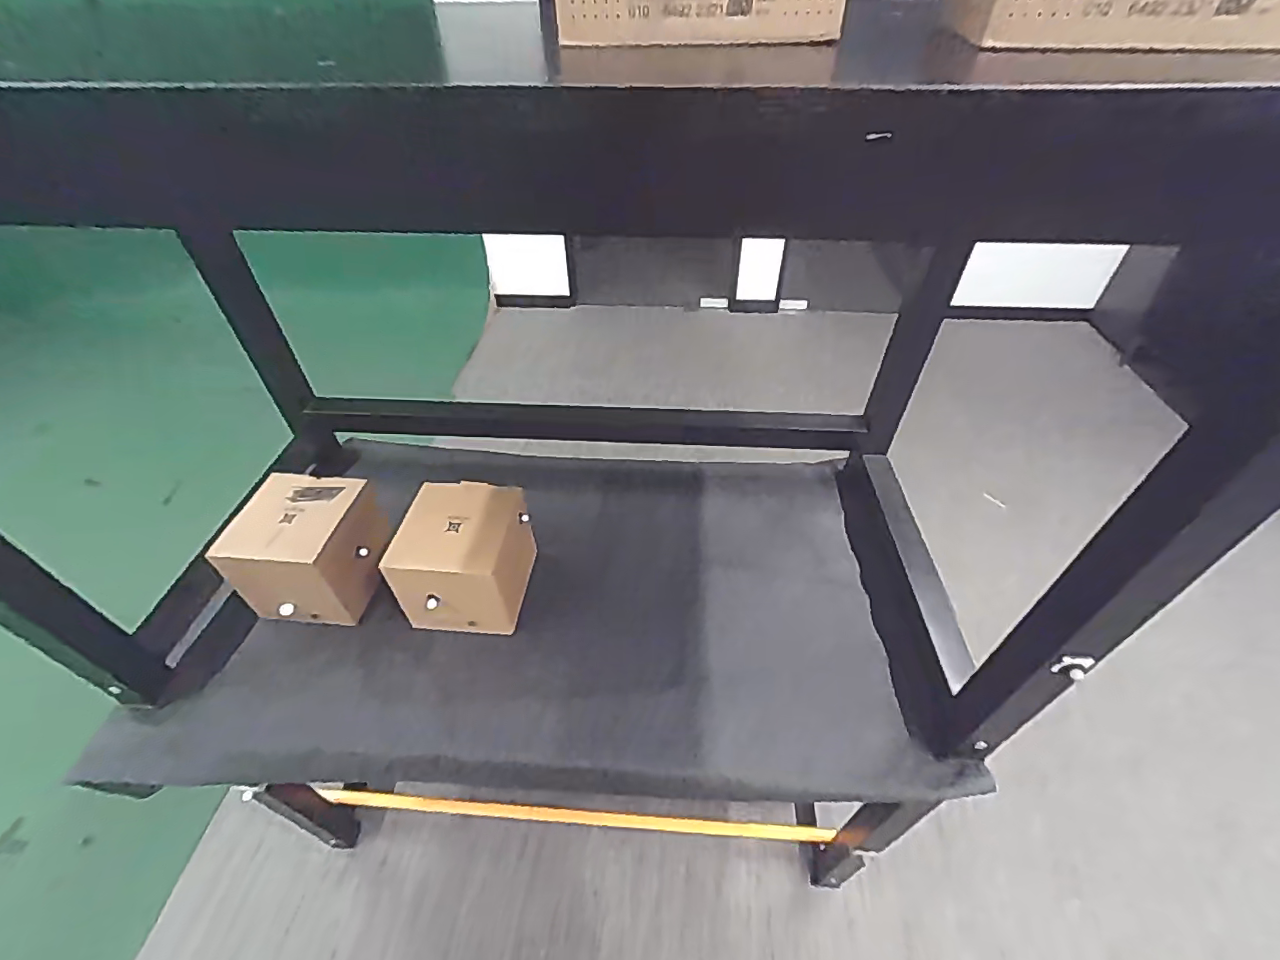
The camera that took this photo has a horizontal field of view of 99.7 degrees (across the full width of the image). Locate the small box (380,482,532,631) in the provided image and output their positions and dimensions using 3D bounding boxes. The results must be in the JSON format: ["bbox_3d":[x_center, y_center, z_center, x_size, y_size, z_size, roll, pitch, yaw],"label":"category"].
[{"bbox_3d":[-0.279,0.125,0.871,0.168,0.176,0.179,3,44,3],"label":"small box"}]

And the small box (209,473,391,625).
[{"bbox_3d":[-0.532,0.111,0.884,0.168,0.176,0.179,3,45,4],"label":"small box"}]

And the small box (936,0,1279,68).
[{"bbox_3d":[0.275,-0.326,0.277,0.168,0.176,0.179,10,45,11],"label":"small box"}]
